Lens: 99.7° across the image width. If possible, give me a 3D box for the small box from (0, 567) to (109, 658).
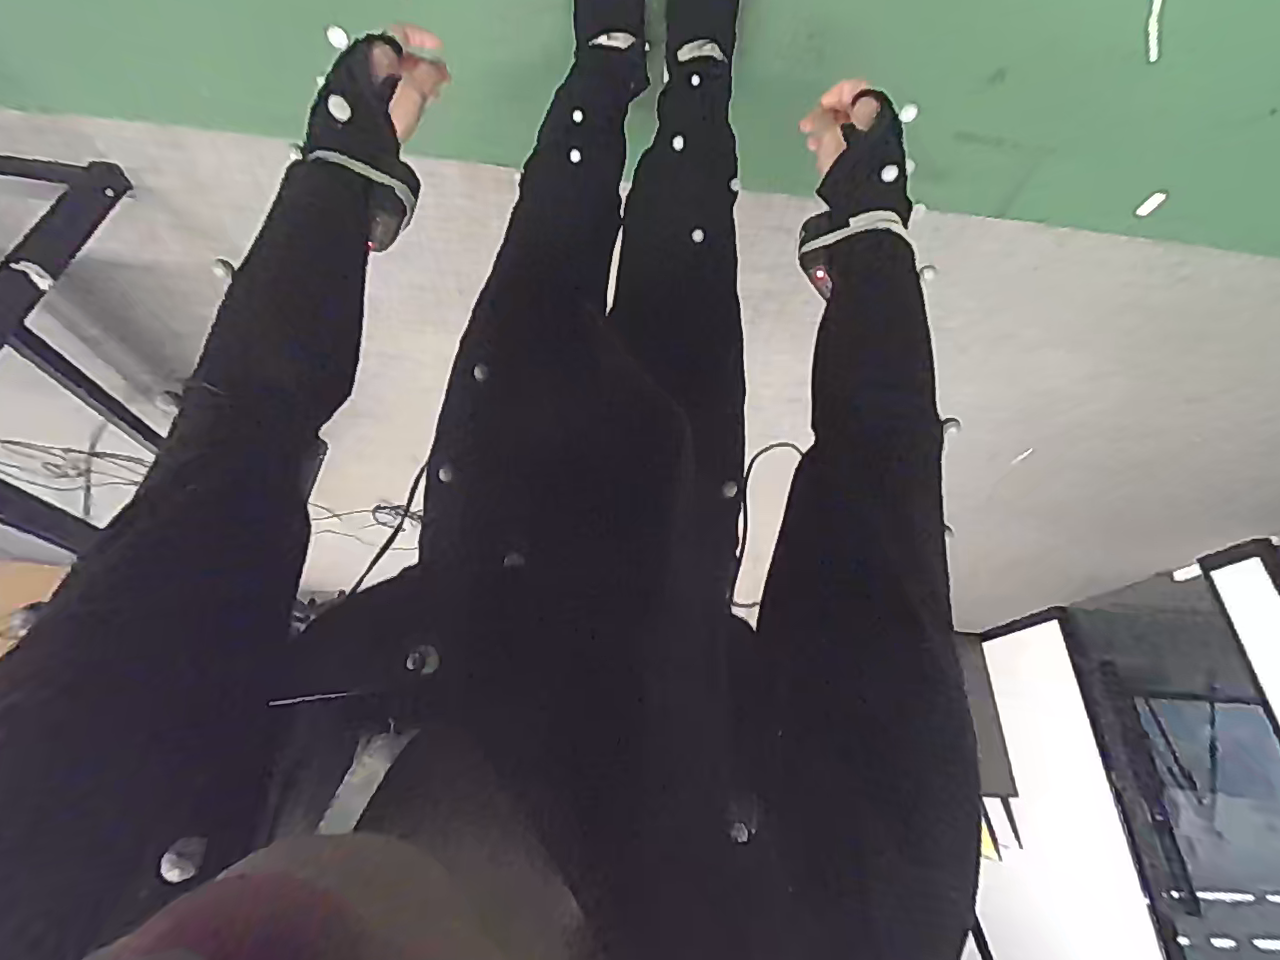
[{"bbox_3d":[-1.432,0.311,1.272,0.179,0.176,0.168,6,152,-4],"label":"small box"}]
